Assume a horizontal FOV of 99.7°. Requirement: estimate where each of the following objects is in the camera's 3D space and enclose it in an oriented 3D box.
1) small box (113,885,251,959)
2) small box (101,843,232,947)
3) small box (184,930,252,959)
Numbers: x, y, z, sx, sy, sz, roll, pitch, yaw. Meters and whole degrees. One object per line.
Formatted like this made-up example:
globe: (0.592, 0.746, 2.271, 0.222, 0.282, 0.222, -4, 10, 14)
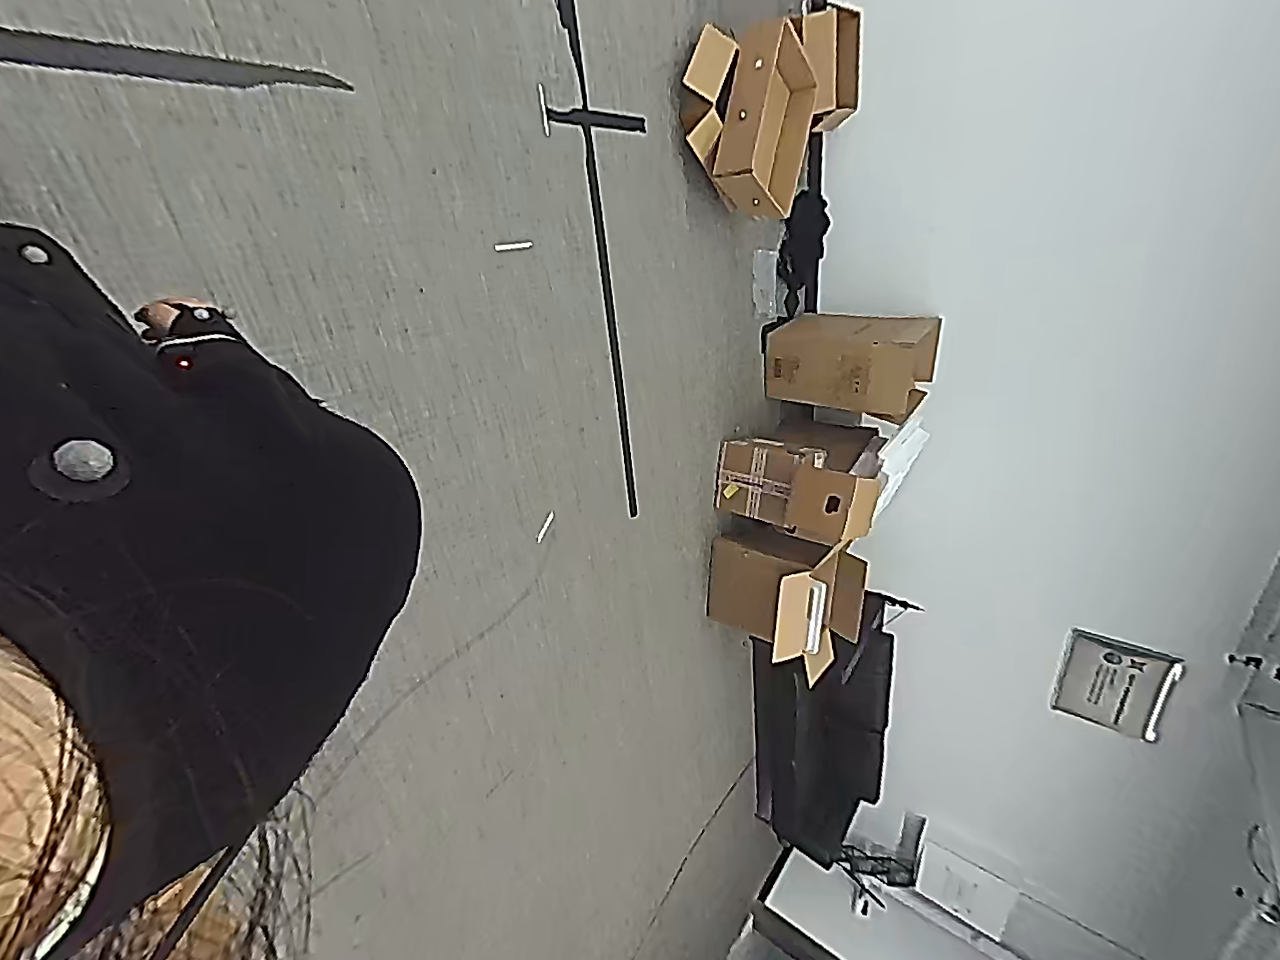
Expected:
small box: (-0.997, 1.041, 1.181, 0.168, 0.176, 0.179, -34, 127, -40)
small box: (-1.121, 1.009, 1.280, 0.168, 0.176, 0.179, -34, 126, -41)
small box: (-0.874, 1.075, 1.081, 0.179, 0.176, 0.168, -35, 126, -40)
